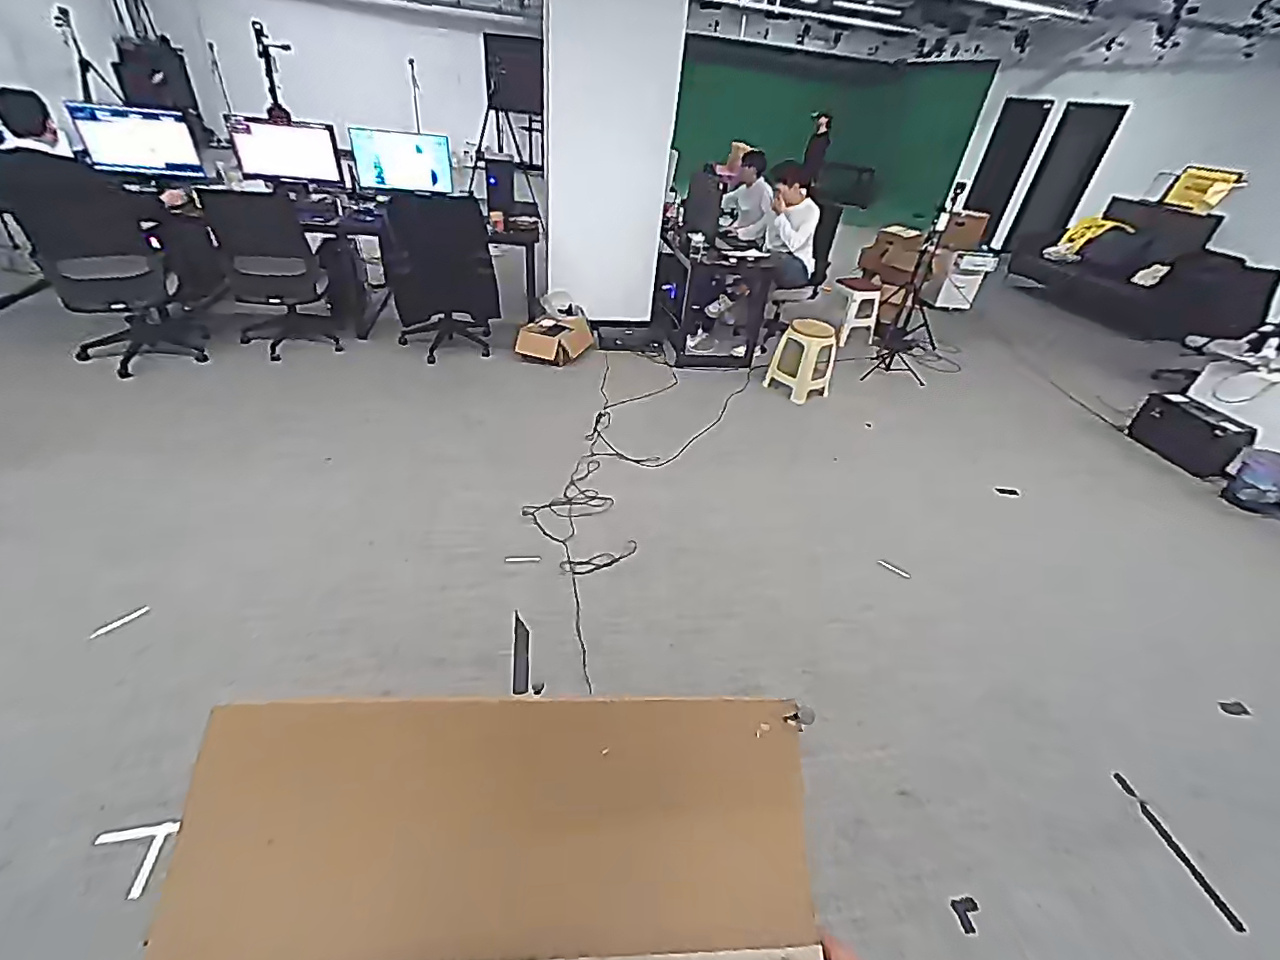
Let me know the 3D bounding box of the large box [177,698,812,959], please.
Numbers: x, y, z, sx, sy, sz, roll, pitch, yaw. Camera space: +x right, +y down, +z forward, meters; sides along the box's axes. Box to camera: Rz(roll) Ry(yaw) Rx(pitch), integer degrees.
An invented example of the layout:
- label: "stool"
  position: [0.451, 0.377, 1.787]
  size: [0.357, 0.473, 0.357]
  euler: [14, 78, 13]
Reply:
- label: "large box"
  position: [-0.100, 0.362, 0.476]
  size: [0.408, 0.320, 0.320]
  euler: [2, 70, -6]
